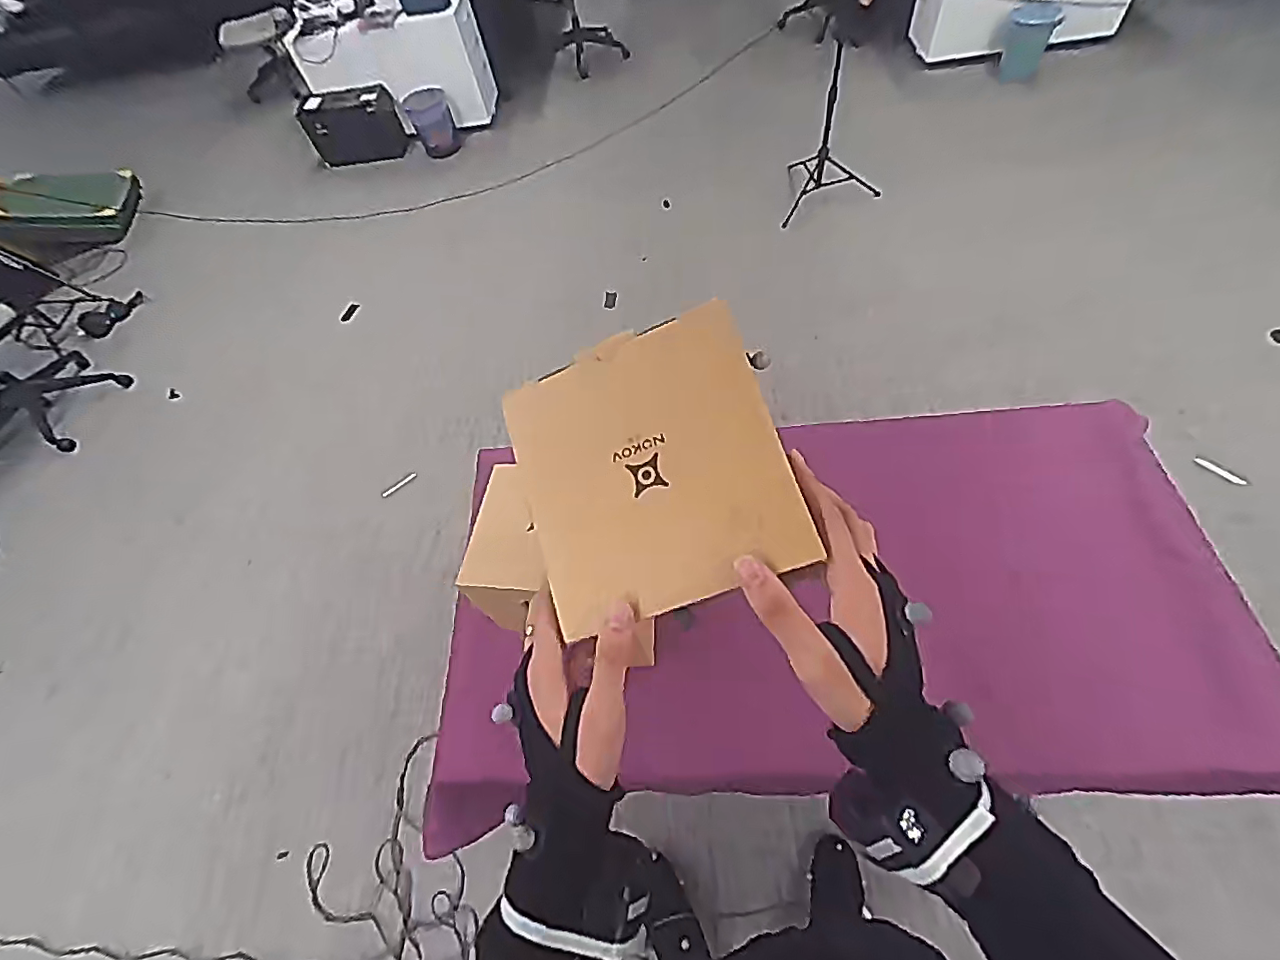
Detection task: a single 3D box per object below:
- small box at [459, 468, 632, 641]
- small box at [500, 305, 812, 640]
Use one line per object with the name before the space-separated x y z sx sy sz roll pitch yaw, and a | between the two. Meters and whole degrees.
small box | -0.100 0.101 0.702 0.179 0.176 0.168 3 58 10
small box | 0.023 0.006 0.417 0.168 0.176 0.179 -21 75 11
